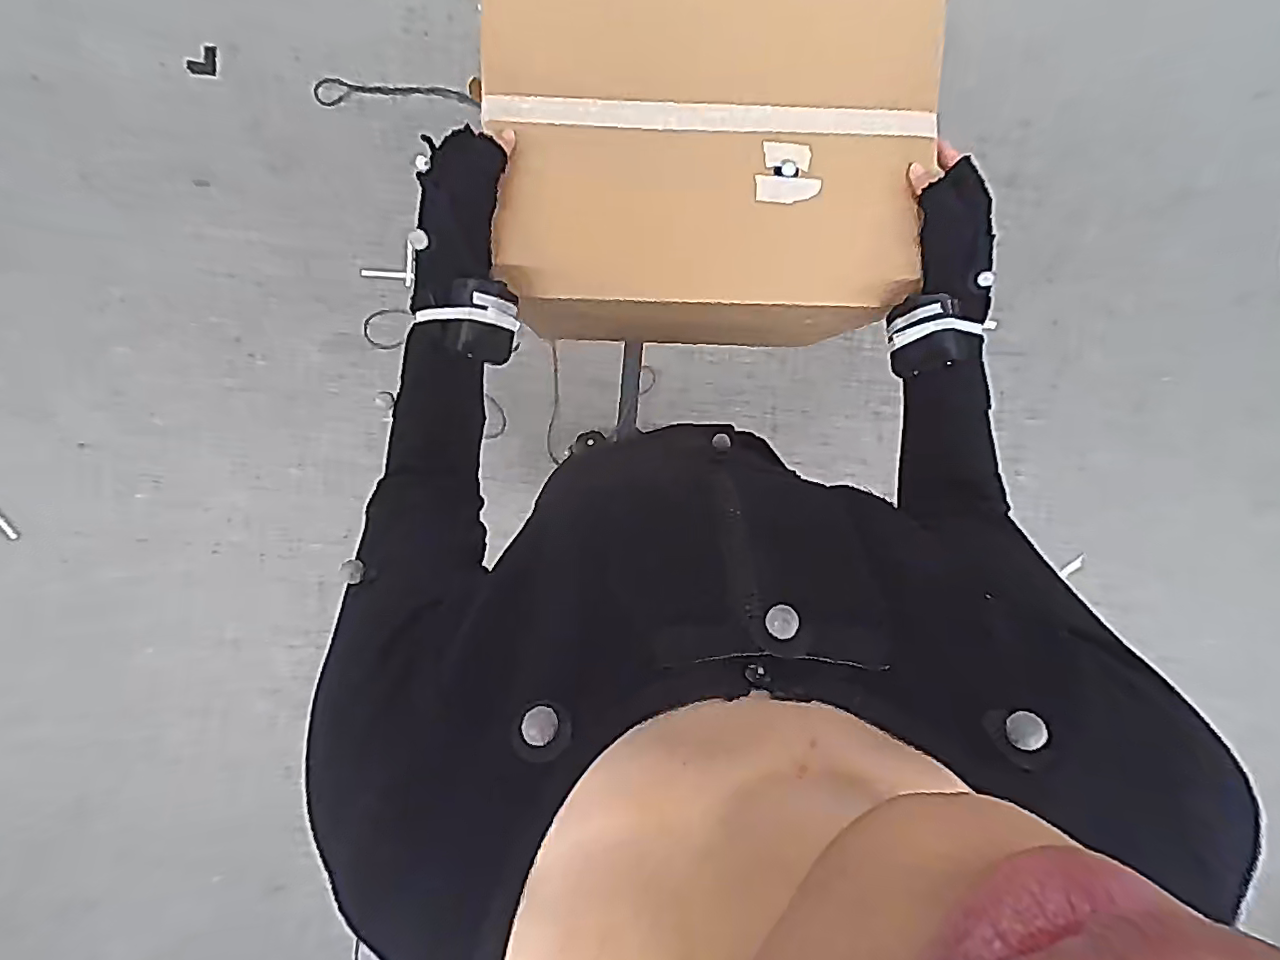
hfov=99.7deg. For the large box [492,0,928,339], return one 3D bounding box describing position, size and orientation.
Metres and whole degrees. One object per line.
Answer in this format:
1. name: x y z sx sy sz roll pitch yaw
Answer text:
1. large box: 0.057 -0.347 0.648 0.408 0.320 0.320 1 98 -3
